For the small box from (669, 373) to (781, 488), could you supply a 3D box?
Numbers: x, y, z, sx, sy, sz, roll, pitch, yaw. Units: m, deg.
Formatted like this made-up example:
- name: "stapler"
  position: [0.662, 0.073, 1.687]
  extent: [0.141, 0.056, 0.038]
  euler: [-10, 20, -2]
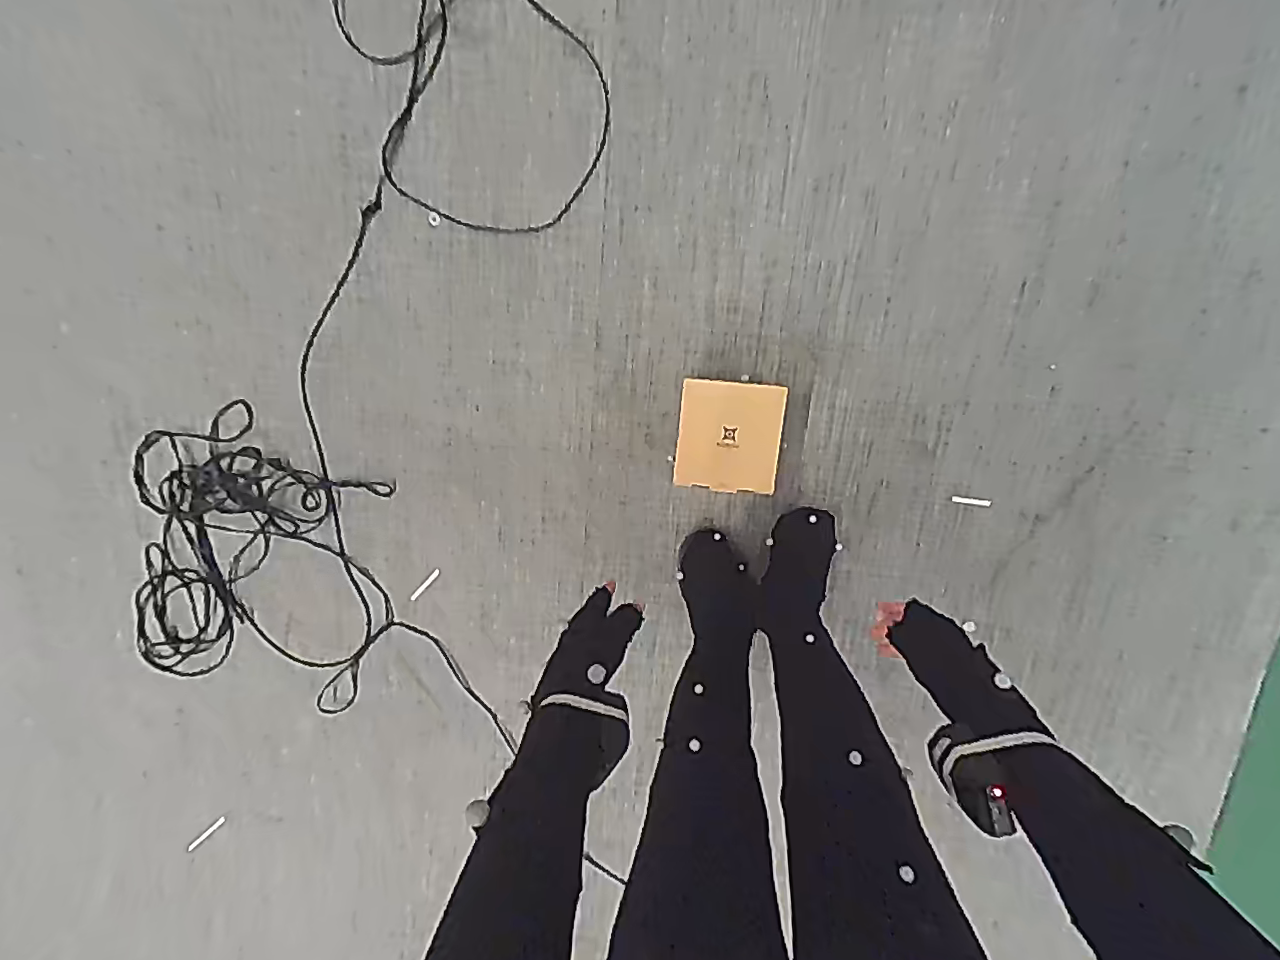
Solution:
- name: "small box"
  position: [0.141, -0.094, 0.951]
  extent: [0.168, 0.176, 0.179]
  euler: [5, 102, 4]
